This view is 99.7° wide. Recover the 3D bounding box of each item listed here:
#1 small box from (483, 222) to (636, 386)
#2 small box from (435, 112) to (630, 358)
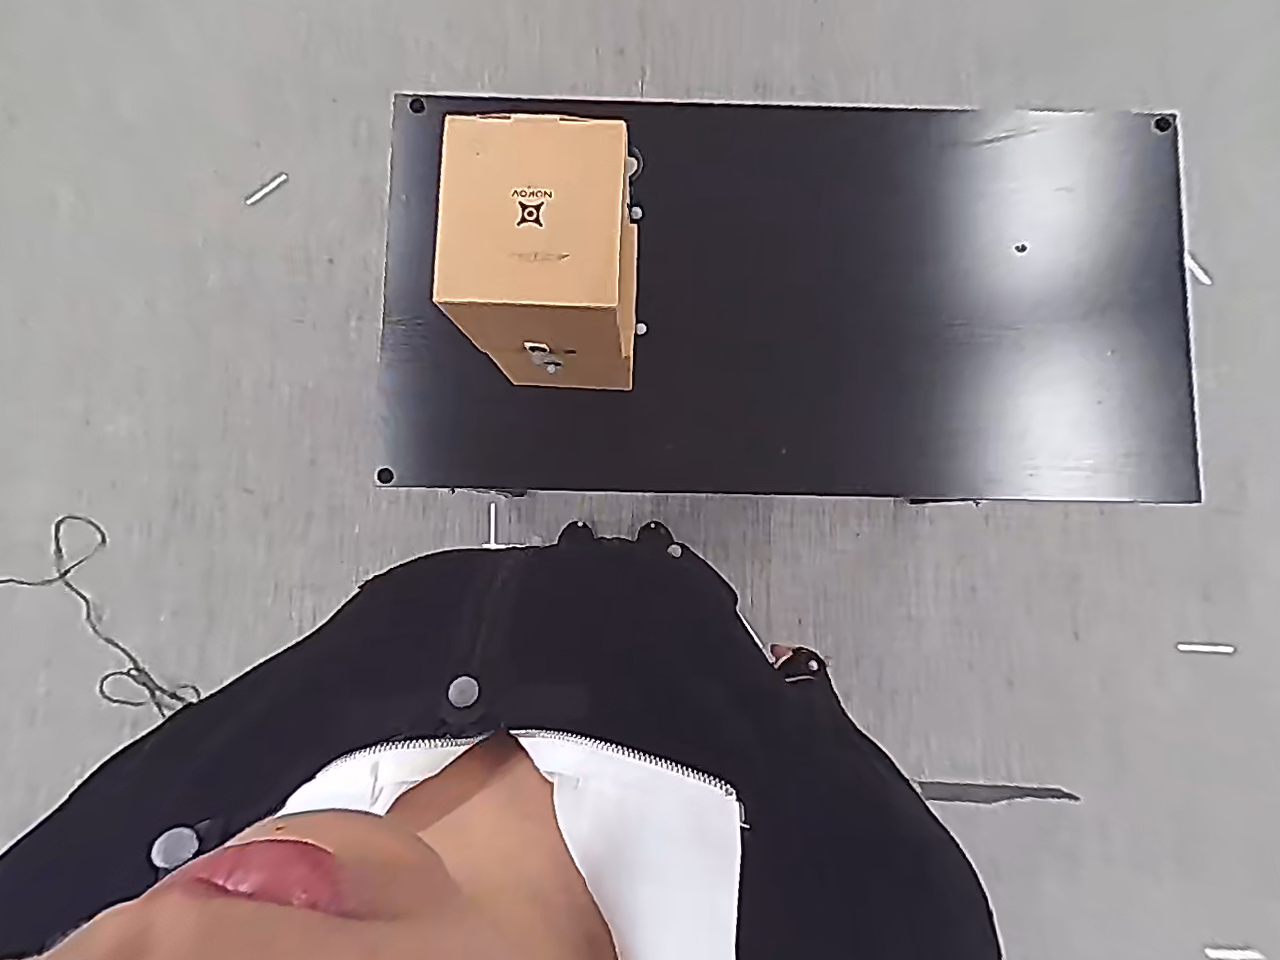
[{"bbox_3d":[-0.097,-0.228,0.725,0.179,0.176,0.168,3,86,-1],"label":"small box"},{"bbox_3d":[-0.097,-0.239,0.563,0.168,0.176,0.179,2,87,1],"label":"small box"}]
